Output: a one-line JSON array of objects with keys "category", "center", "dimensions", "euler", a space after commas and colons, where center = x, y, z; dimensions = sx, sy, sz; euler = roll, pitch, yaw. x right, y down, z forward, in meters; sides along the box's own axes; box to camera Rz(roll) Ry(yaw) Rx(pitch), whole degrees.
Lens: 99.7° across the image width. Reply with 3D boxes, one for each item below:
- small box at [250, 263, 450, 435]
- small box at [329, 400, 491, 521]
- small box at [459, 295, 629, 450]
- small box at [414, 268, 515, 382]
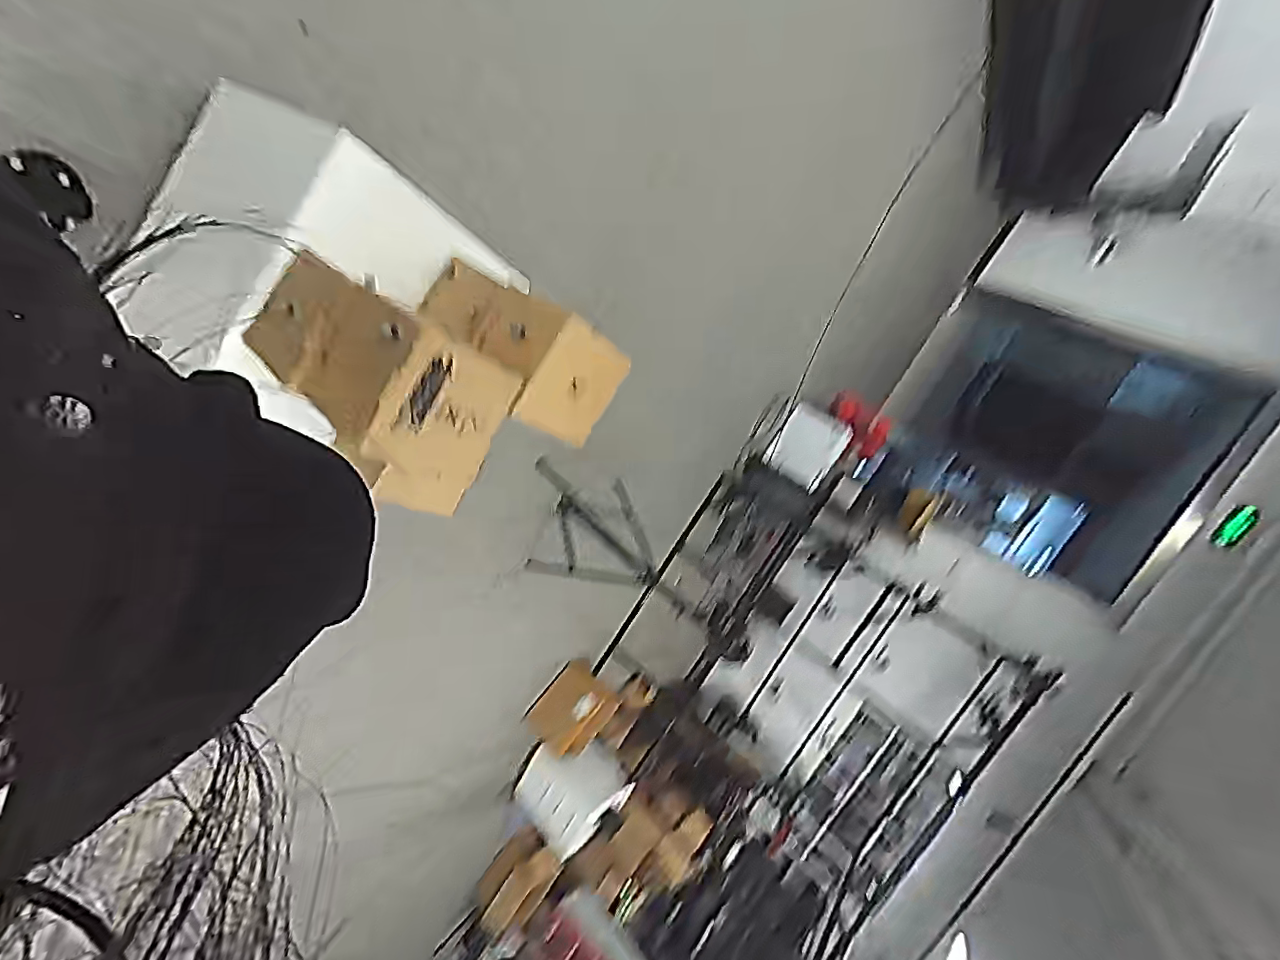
[{"category": "small box", "center": [-0.431, -0.196, 0.803], "dimensions": [0.168, 0.176, 0.179], "euler": [-56, 150, 2]}, {"category": "small box", "center": [-0.413, -0.050, 0.974], "dimensions": [0.168, 0.176, 0.179], "euler": [-58, 147, 3]}, {"category": "small box", "center": [-0.157, -0.176, 0.878], "dimensions": [0.168, 0.176, 0.179], "euler": [-57, 149, 5]}, {"category": "small box", "center": [-0.274, -0.251, 0.962], "dimensions": [0.168, 0.176, 0.179], "euler": [-55, 150, 3]}]
